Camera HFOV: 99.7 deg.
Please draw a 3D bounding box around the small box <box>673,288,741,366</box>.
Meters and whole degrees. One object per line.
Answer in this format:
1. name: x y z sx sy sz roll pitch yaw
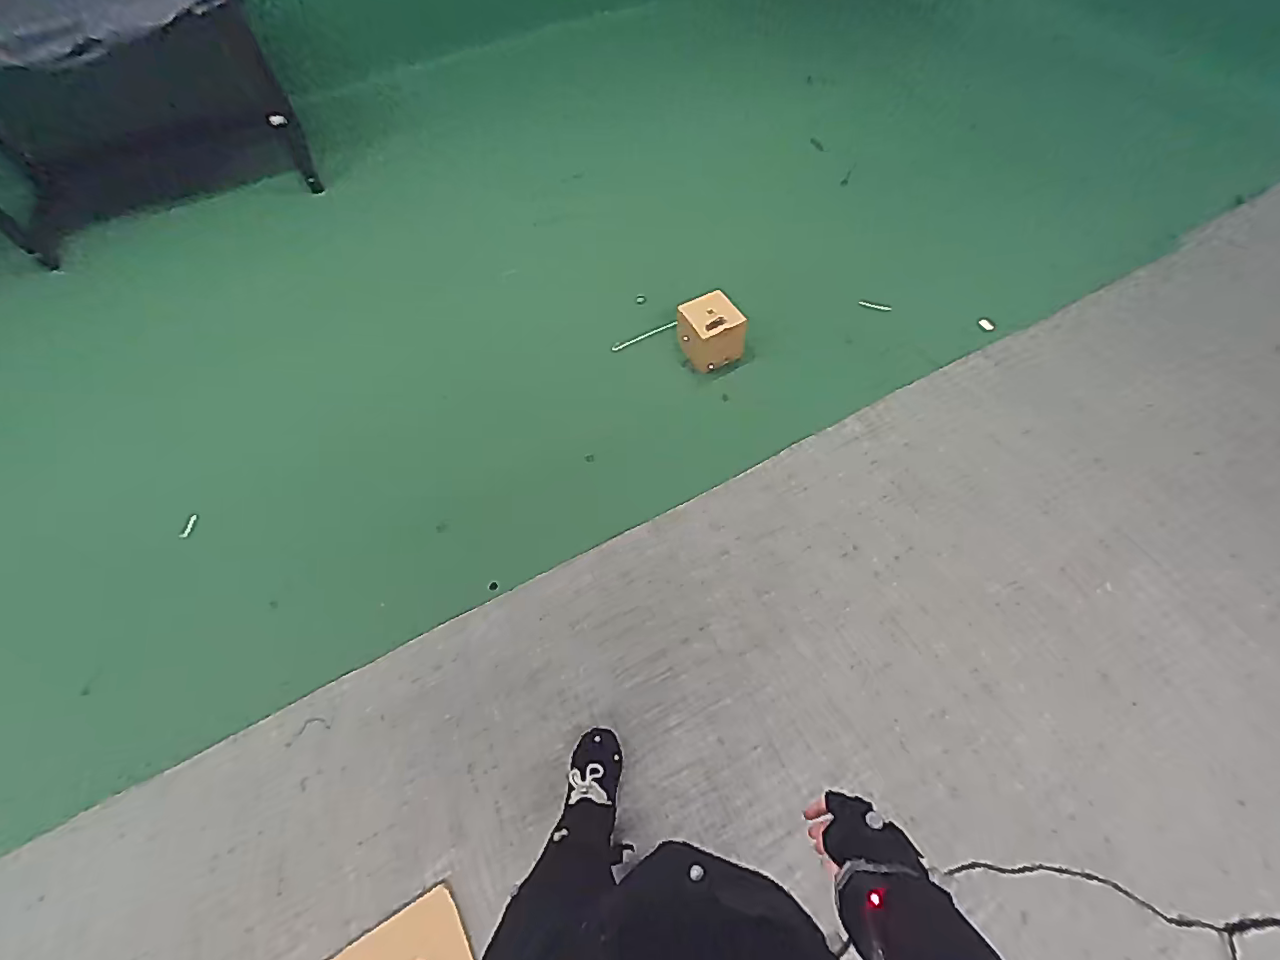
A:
1. small box: 0.225 -0.510 1.836 0.168 0.176 0.179 -26 61 -11
